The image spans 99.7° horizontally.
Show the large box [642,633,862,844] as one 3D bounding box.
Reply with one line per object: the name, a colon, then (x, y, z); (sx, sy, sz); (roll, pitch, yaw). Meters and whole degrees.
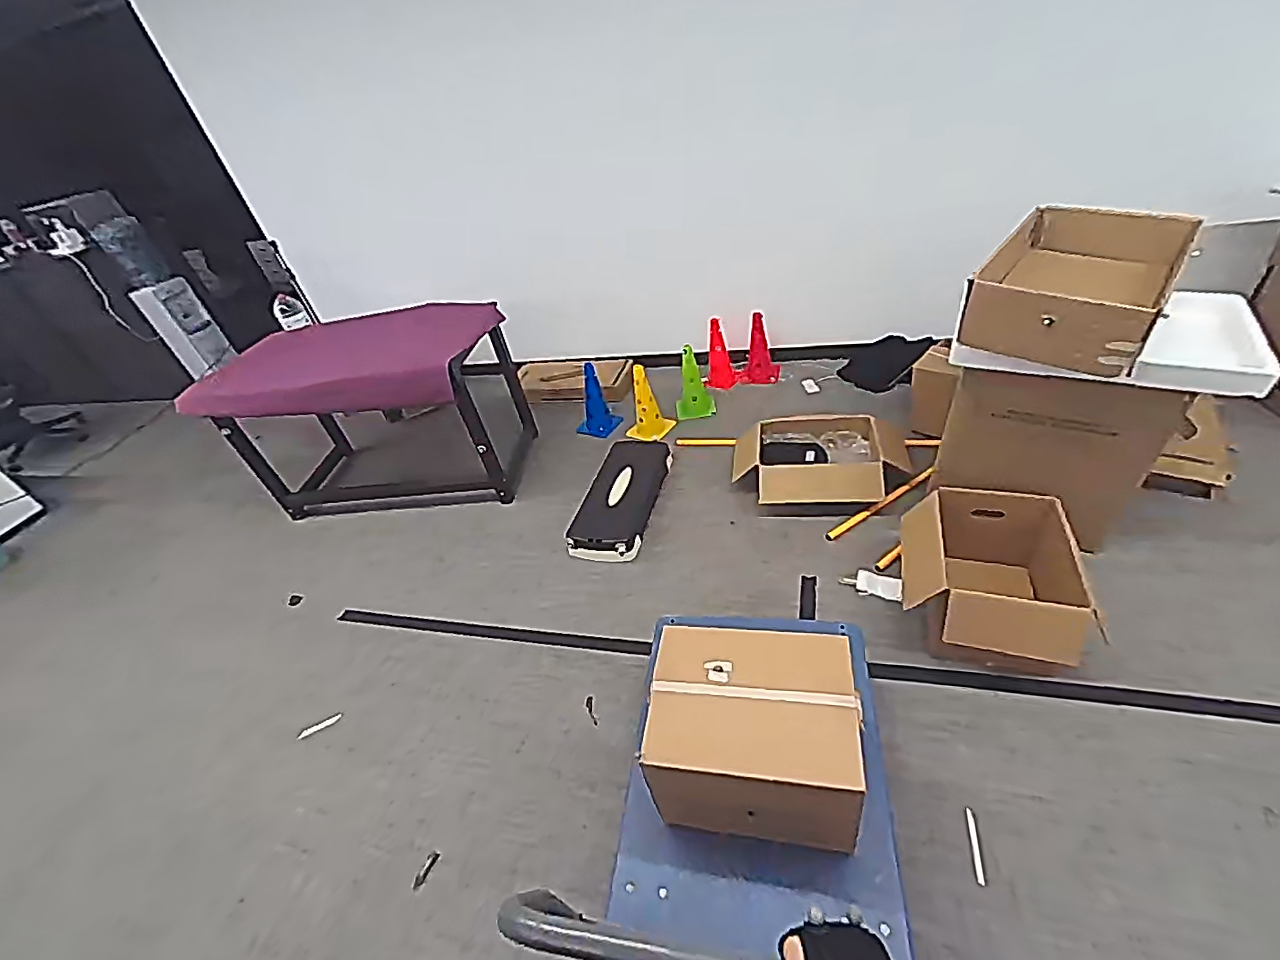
large box: (0.248, 0.559, 1.189); (0.408, 0.320, 0.320); (-2, 38, 15)
